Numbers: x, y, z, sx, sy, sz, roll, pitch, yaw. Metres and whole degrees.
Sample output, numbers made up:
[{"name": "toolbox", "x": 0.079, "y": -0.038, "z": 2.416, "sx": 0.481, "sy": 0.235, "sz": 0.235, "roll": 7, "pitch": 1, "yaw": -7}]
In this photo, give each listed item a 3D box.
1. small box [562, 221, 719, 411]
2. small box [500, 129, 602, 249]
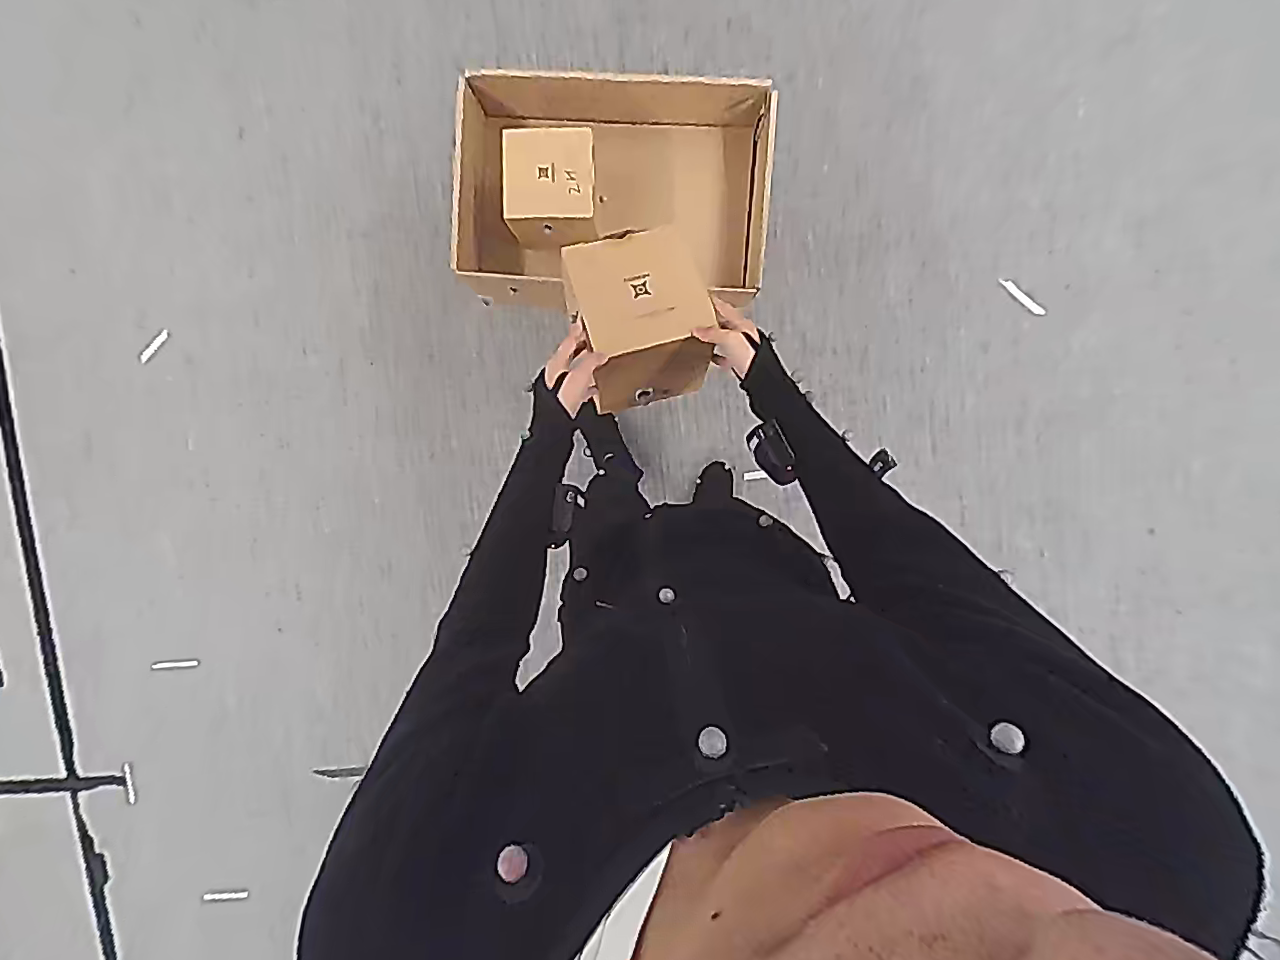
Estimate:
[{"name": "small box", "x": -0.007, "y": -0.224, "z": 0.763, "sx": 0.168, "sy": 0.176, "sz": 0.179, "roll": -16, "pitch": 73, "yaw": -8}, {"name": "small box", "x": -0.176, "y": -0.582, "z": 1.101, "sx": 0.179, "sy": 0.176, "sz": 0.168, "roll": 1, "pitch": 95, "yaw": 1}]
